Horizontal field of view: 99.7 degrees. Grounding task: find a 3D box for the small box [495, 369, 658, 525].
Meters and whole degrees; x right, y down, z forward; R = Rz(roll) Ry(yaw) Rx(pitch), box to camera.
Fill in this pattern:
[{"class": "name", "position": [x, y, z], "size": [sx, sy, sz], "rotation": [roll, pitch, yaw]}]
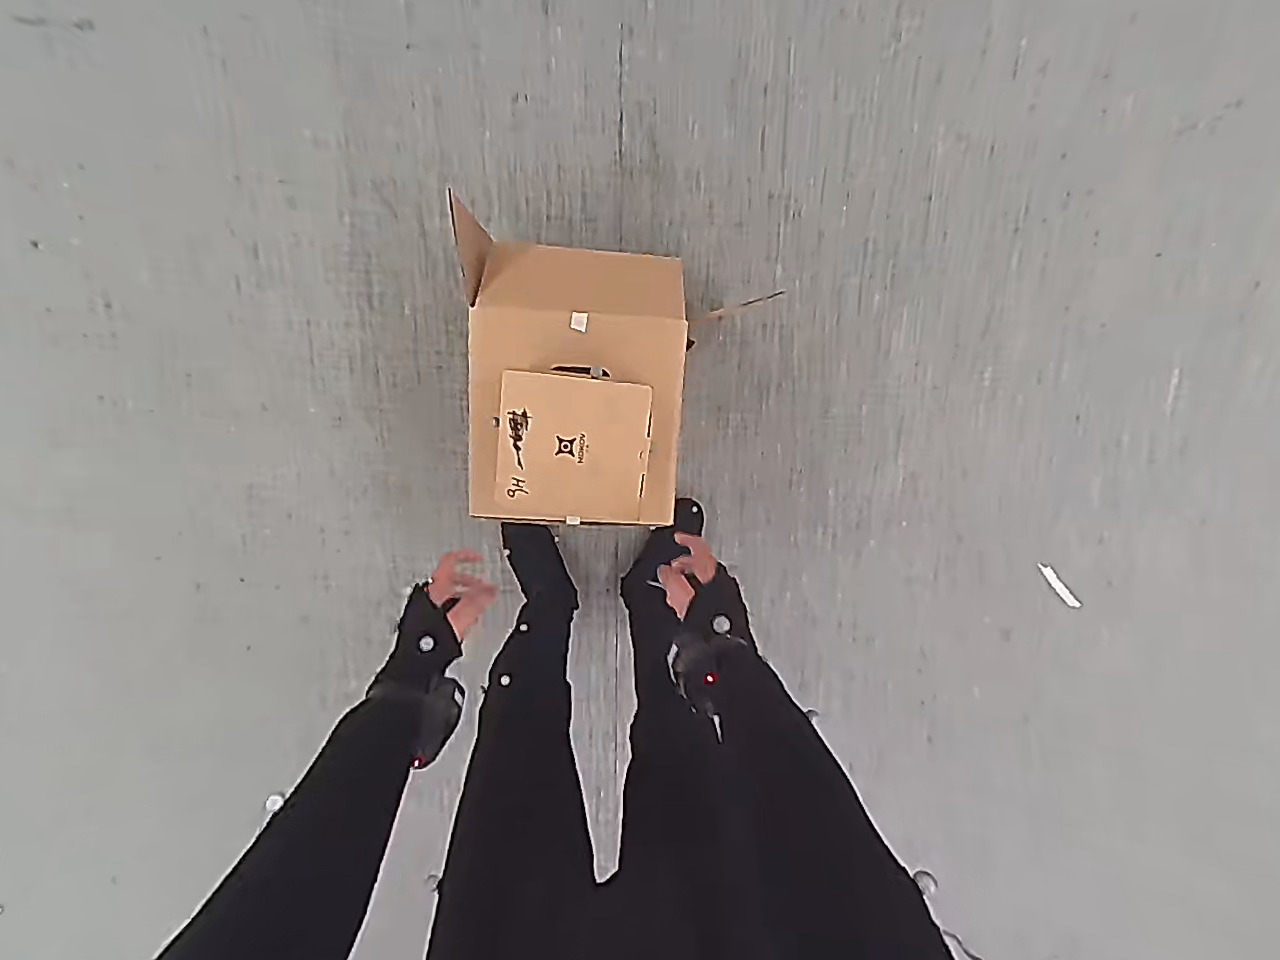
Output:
[{"class": "small box", "position": [-0.080, -0.051, 0.703], "size": [0.179, 0.176, 0.168], "rotation": [6, 102, -5]}]
